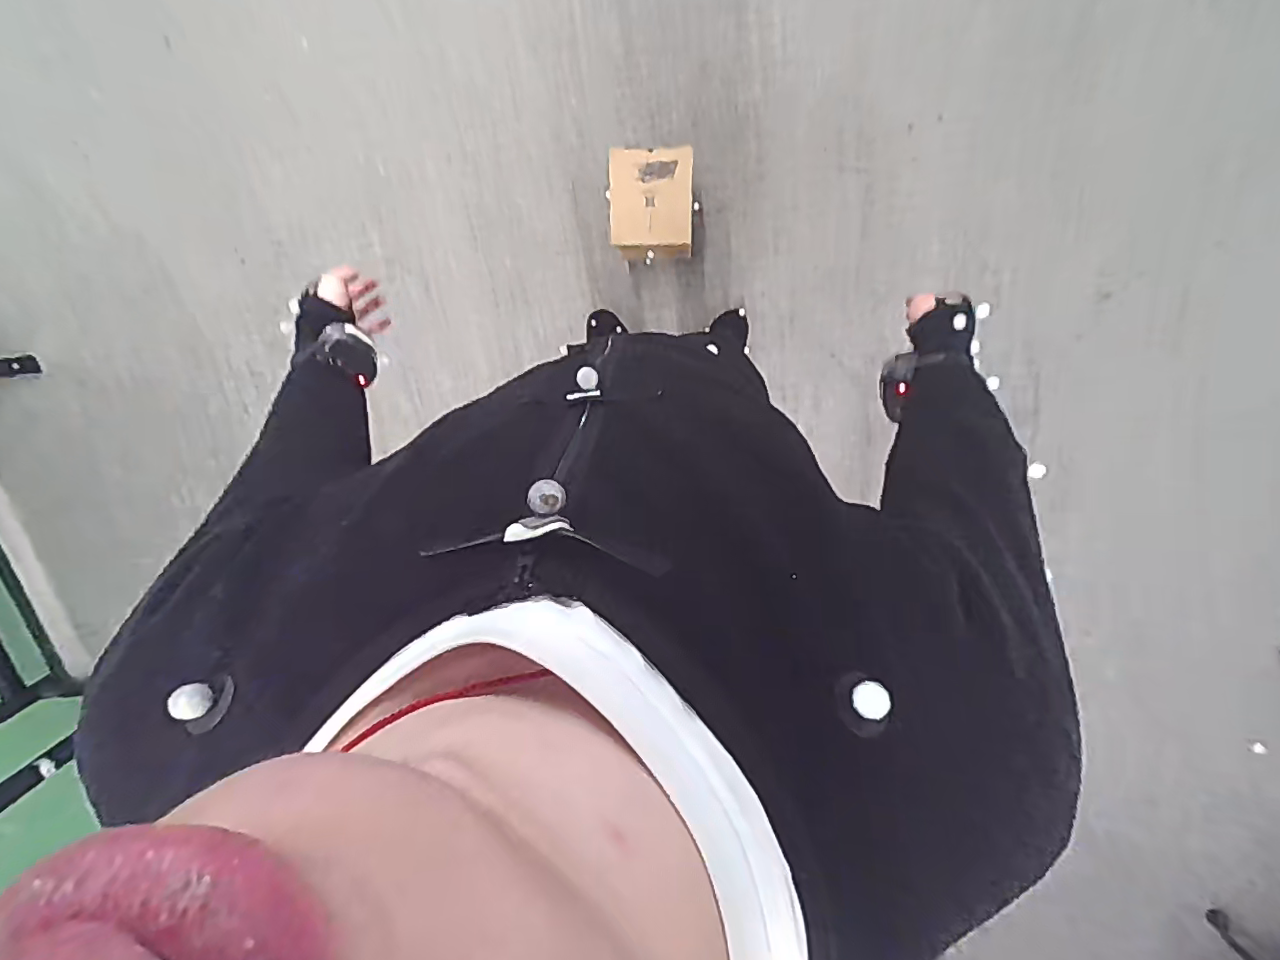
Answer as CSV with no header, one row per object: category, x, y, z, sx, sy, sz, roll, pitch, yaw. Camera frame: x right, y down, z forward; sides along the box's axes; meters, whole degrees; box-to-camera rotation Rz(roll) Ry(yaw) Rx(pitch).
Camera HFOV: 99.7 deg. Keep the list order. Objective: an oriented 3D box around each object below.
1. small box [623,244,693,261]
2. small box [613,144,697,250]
small box,0.045,-0.632,1.307,0.168,0.176,0.179,0,107,5
small box,0.033,-0.591,1.147,0.168,0.176,0.179,2,108,5
